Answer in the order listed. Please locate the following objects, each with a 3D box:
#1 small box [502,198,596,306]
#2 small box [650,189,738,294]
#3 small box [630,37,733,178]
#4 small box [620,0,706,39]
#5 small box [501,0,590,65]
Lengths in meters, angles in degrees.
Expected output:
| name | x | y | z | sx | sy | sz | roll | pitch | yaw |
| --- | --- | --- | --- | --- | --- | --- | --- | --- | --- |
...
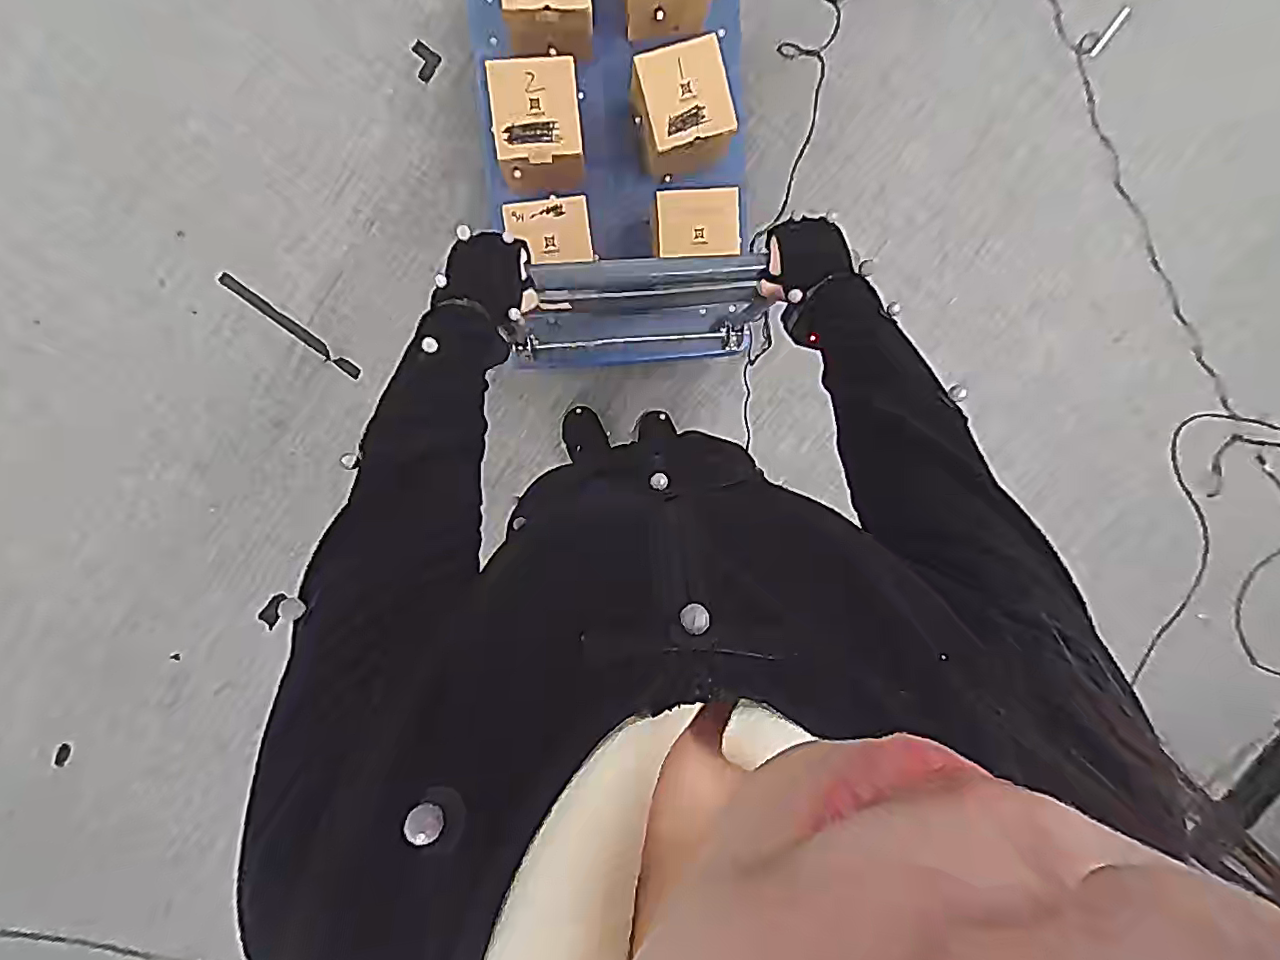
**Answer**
| name | x | y | z | sx | sy | sz | roll | pitch | yaw |
| --- | --- | --- | --- | --- | --- | --- | --- | --- | --- |
| small box | -0.184 | -0.474 | 1.149 | 0.168 | 0.176 | 0.179 | -8 | 100 | -3 |
| small box | 0.112 | -0.503 | 1.166 | 0.168 | 0.176 | 0.179 | -4 | 99 | -4 |
| small box | 0.080 | -0.755 | 1.121 | 0.168 | 0.176 | 0.179 | -17 | 99 | -1 |
| small box | 0.044 | -1.021 | 1.075 | 0.168 | 0.176 | 0.179 | -8 | 99 | -3 |
| small box | -0.184 | -0.965 | 1.066 | 0.168 | 0.176 | 0.179 | -3 | 100 | -3 |
